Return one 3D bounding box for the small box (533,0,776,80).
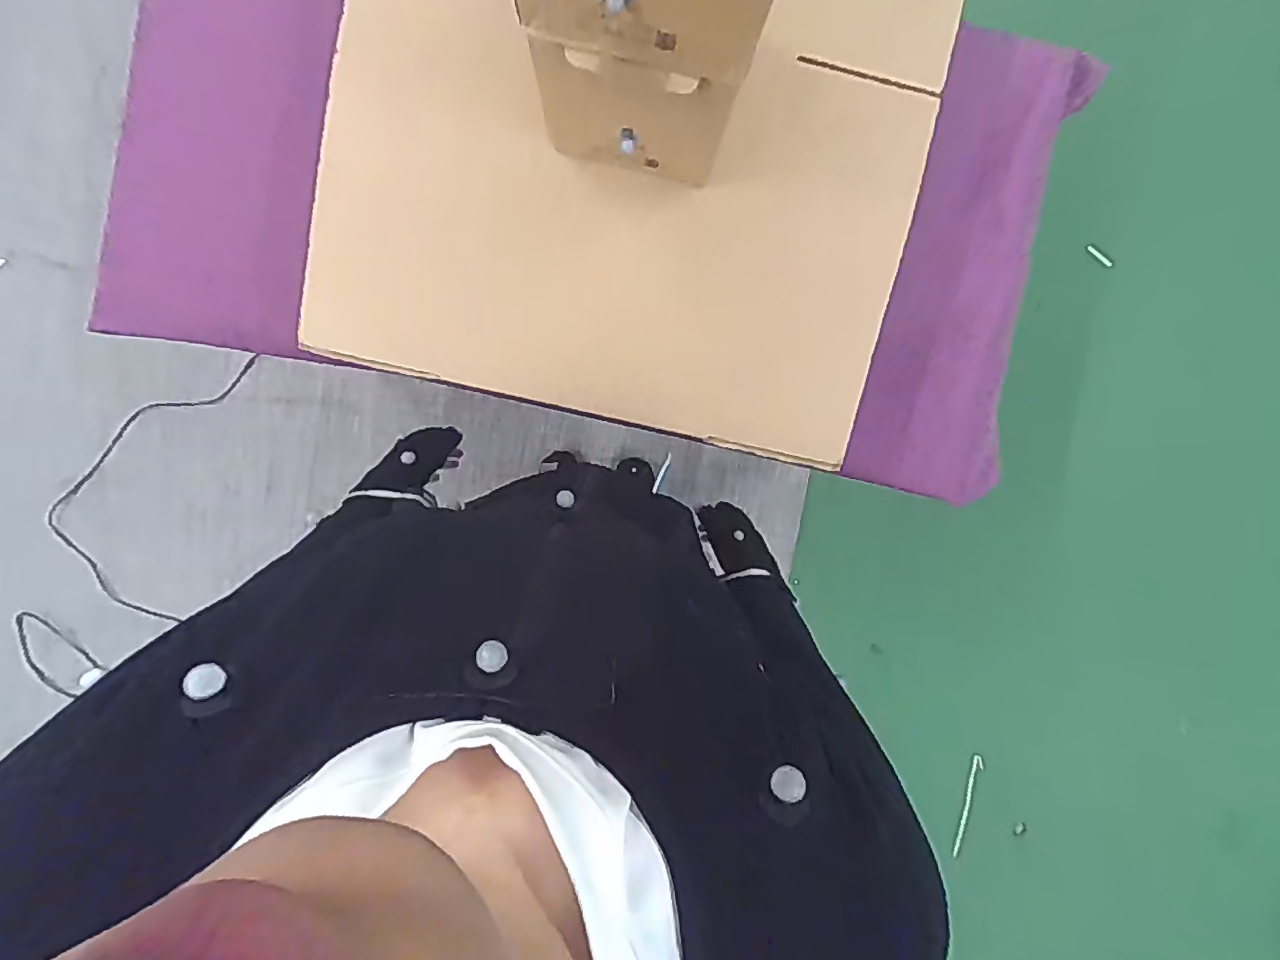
[{"bbox_3d":[0.020,-0.385,0.307,0.168,0.176,0.179,11,93,-3],"label":"small box"}]

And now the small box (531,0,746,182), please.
[{"bbox_3d":[0.015,-0.402,0.469,0.168,0.176,0.179,13,93,-2],"label":"small box"}]
